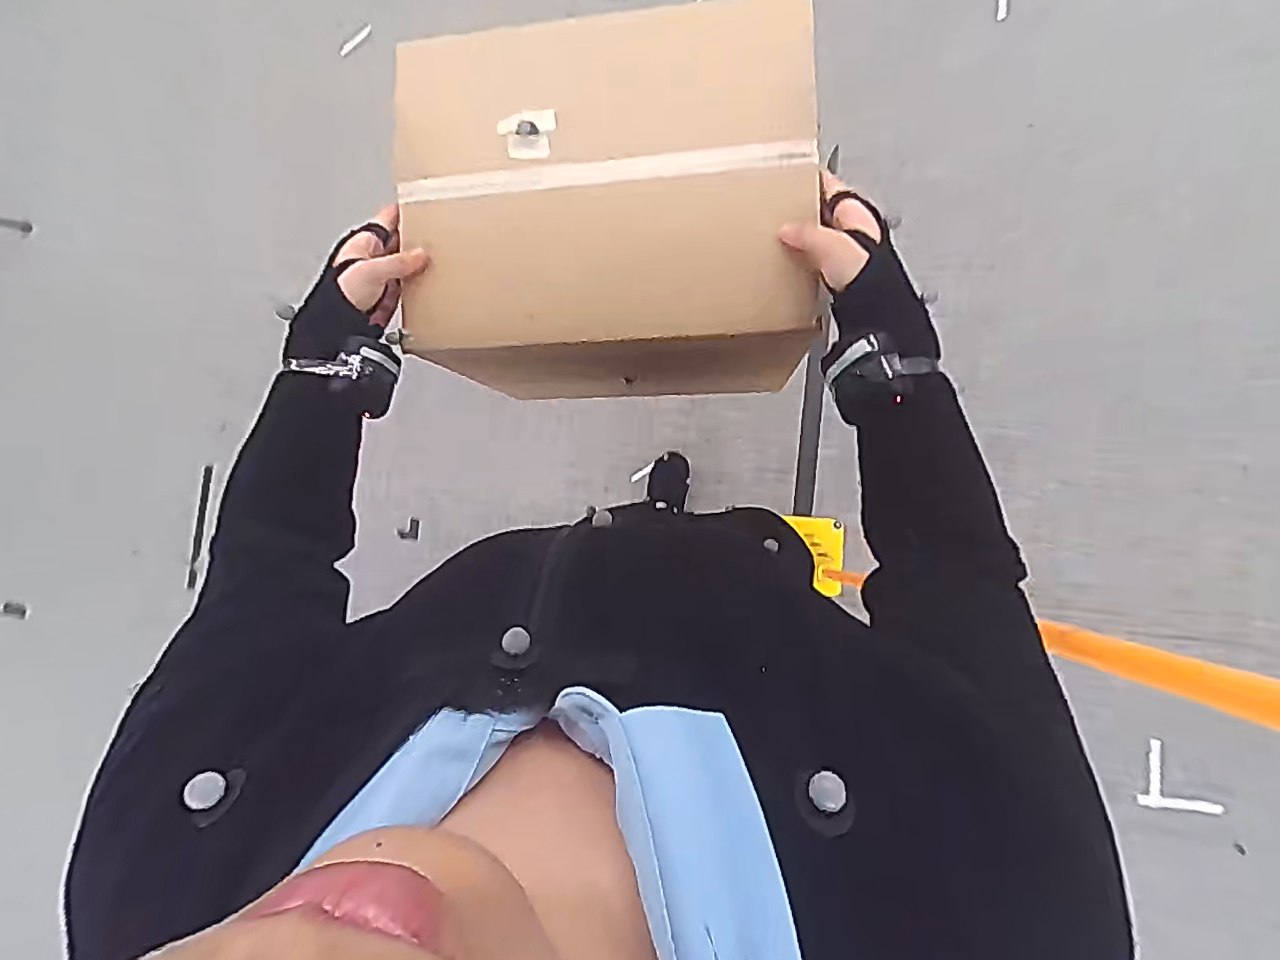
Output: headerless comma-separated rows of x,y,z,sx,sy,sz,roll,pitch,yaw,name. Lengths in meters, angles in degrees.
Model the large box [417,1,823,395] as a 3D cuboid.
-0.009,-0.288,0.674,0.408,0.320,0.320,-1,88,8,large box
